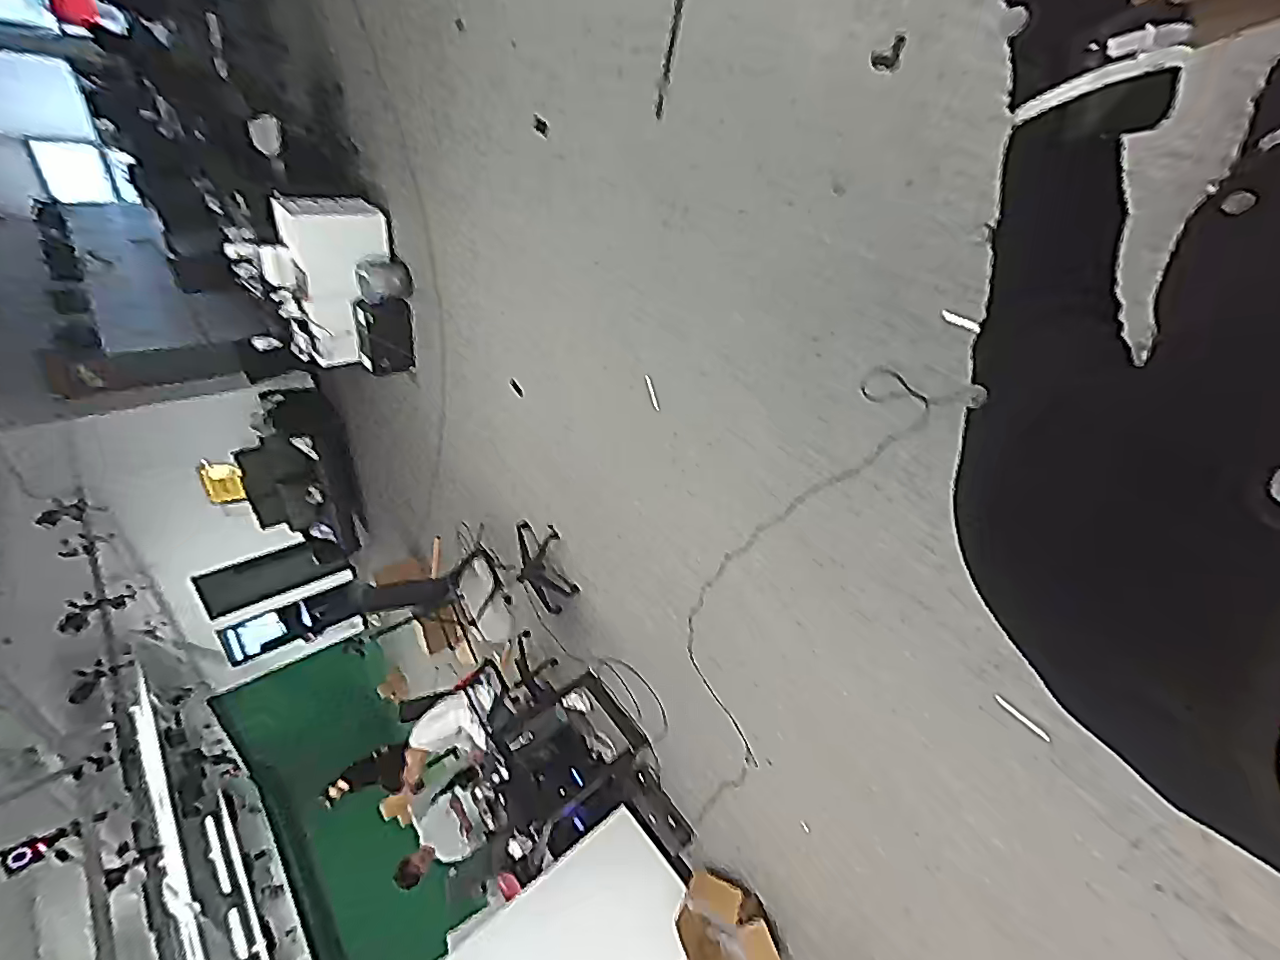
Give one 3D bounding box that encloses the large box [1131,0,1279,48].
[{"bbox_3d":[0.518,-0.501,0.263,0.408,0.320,0.320,5,118,45],"label":"large box"}]
